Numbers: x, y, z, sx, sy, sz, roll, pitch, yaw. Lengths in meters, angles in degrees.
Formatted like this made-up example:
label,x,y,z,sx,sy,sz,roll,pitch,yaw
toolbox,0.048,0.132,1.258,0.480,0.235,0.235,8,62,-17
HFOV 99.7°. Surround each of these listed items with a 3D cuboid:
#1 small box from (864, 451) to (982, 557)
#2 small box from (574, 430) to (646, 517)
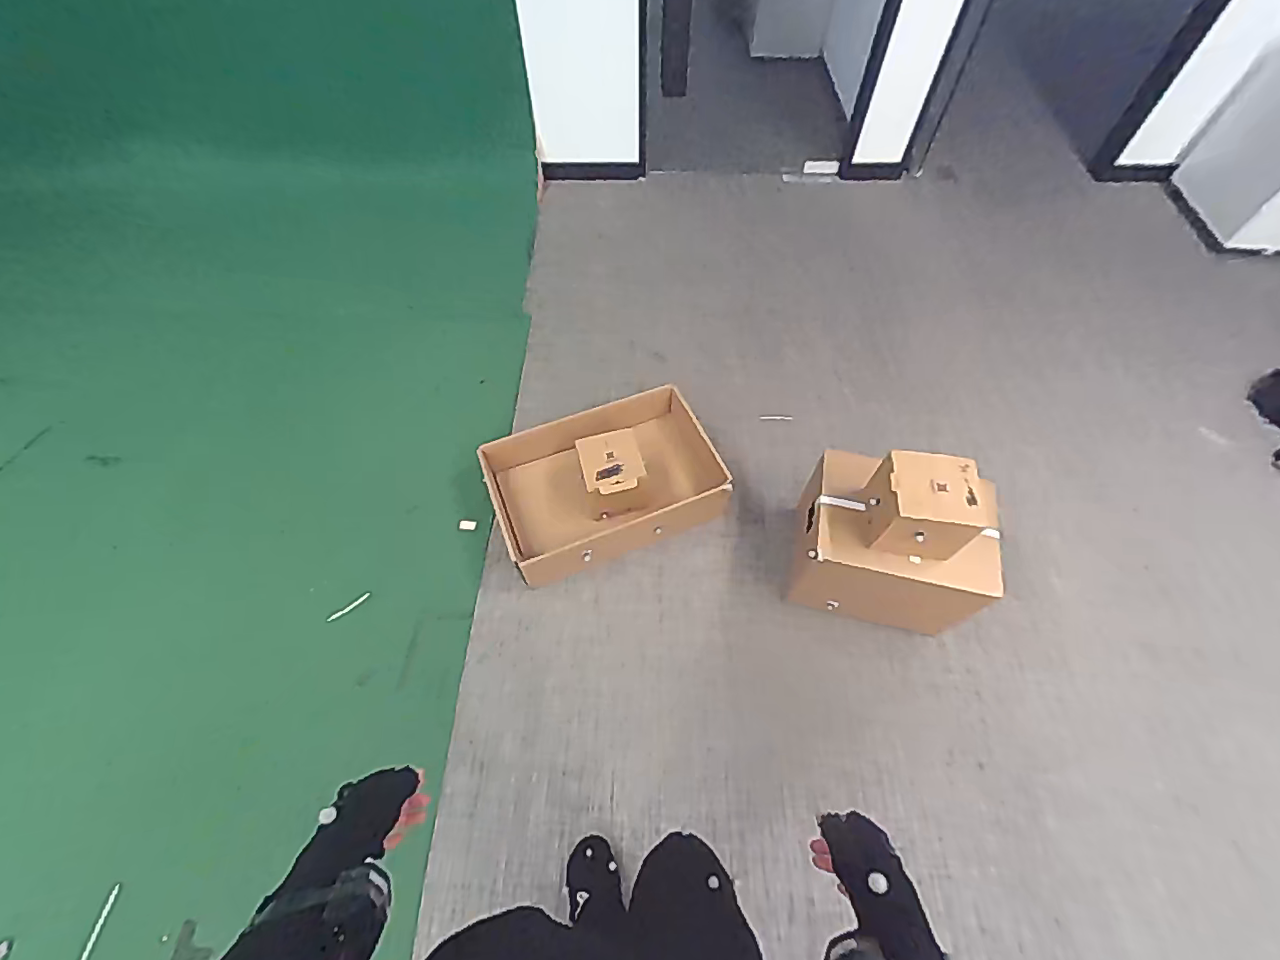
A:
label,x,y,z,sx,sy,sz,roll,pitch,yaw
small box,0.602,0.056,1.179,0.179,0.176,0.168,6,59,5
small box,-0.081,-0.010,1.535,0.168,0.176,0.179,-14,57,-7
